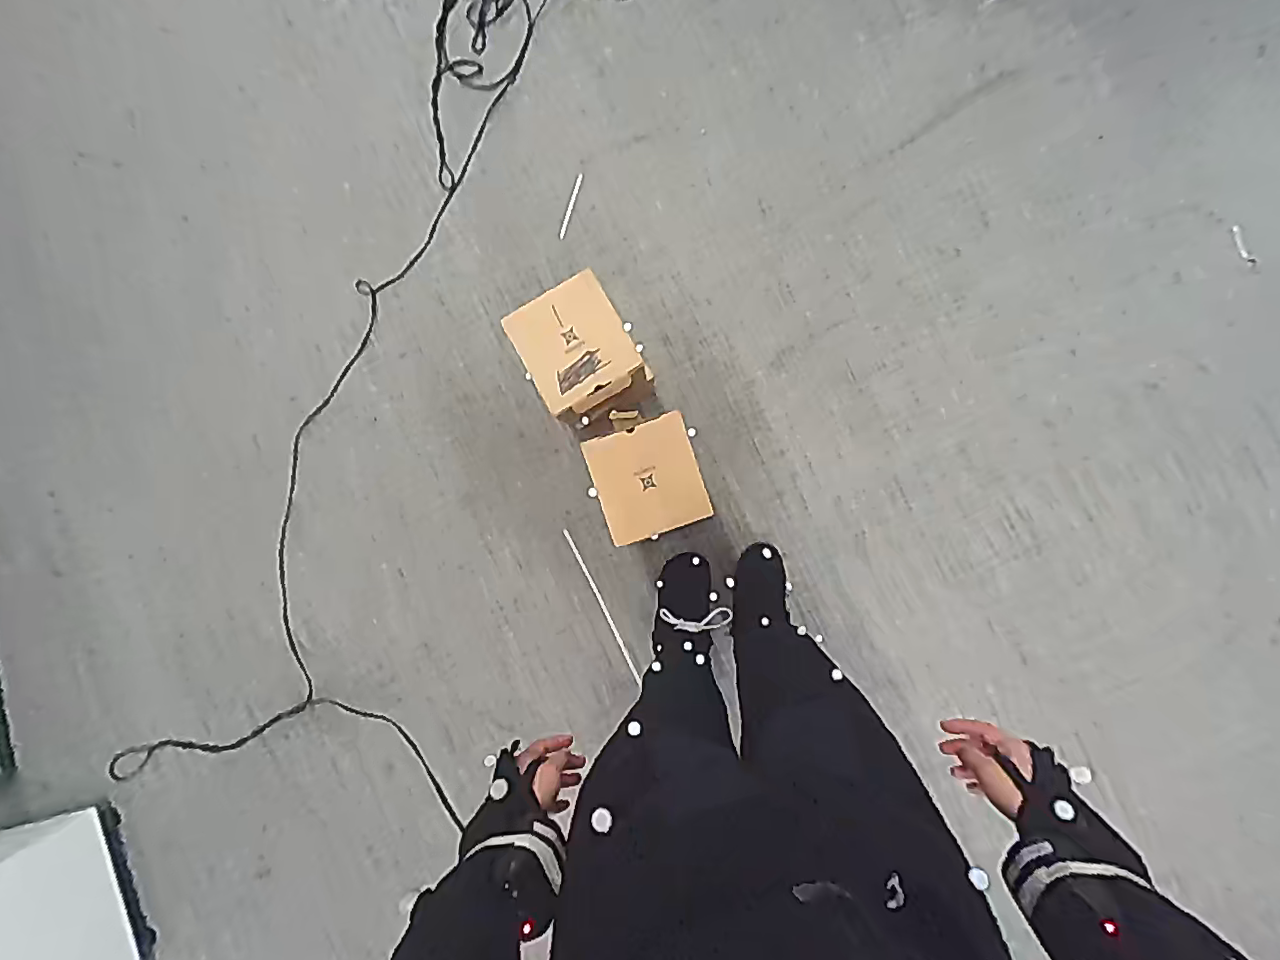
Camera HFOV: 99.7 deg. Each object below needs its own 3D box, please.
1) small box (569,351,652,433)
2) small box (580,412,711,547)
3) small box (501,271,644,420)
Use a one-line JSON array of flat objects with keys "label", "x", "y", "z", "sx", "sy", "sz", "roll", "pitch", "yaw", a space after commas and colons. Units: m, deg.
[{"label": "small box", "x": -0.087, "y": -0.207, "z": 1.081, "sx": 0.179, "sy": 0.176, "sz": 0.168, "roll": -35, "pitch": 89, "yaw": 2}, {"label": "small box", "x": 0.014, "y": -0.003, "z": 0.920, "sx": 0.168, "sy": 0.176, "sz": 0.179, "roll": -19, "pitch": 90, "yaw": 3}, {"label": "small box", "x": -0.102, "y": -0.212, "z": 0.916, "sx": 0.168, "sy": 0.176, "sz": 0.179, "roll": -29, "pitch": 89, "yaw": 2}]
